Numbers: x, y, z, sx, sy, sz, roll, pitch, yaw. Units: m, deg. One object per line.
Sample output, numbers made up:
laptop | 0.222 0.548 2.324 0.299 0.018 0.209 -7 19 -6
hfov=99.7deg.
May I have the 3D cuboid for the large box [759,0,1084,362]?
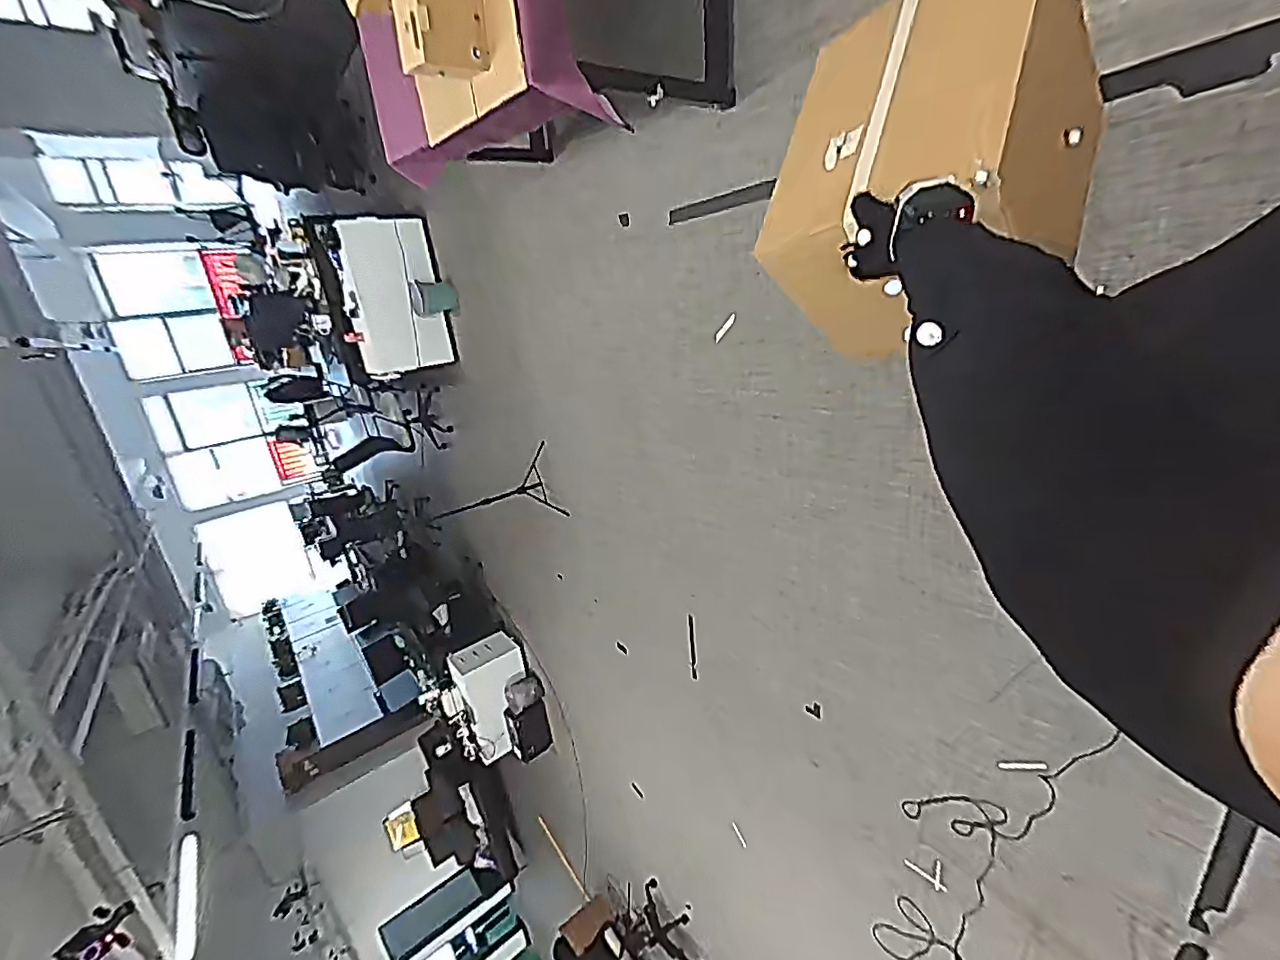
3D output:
large box | 0.435 -0.442 0.819 0.320 0.320 0.408 4 71 50
